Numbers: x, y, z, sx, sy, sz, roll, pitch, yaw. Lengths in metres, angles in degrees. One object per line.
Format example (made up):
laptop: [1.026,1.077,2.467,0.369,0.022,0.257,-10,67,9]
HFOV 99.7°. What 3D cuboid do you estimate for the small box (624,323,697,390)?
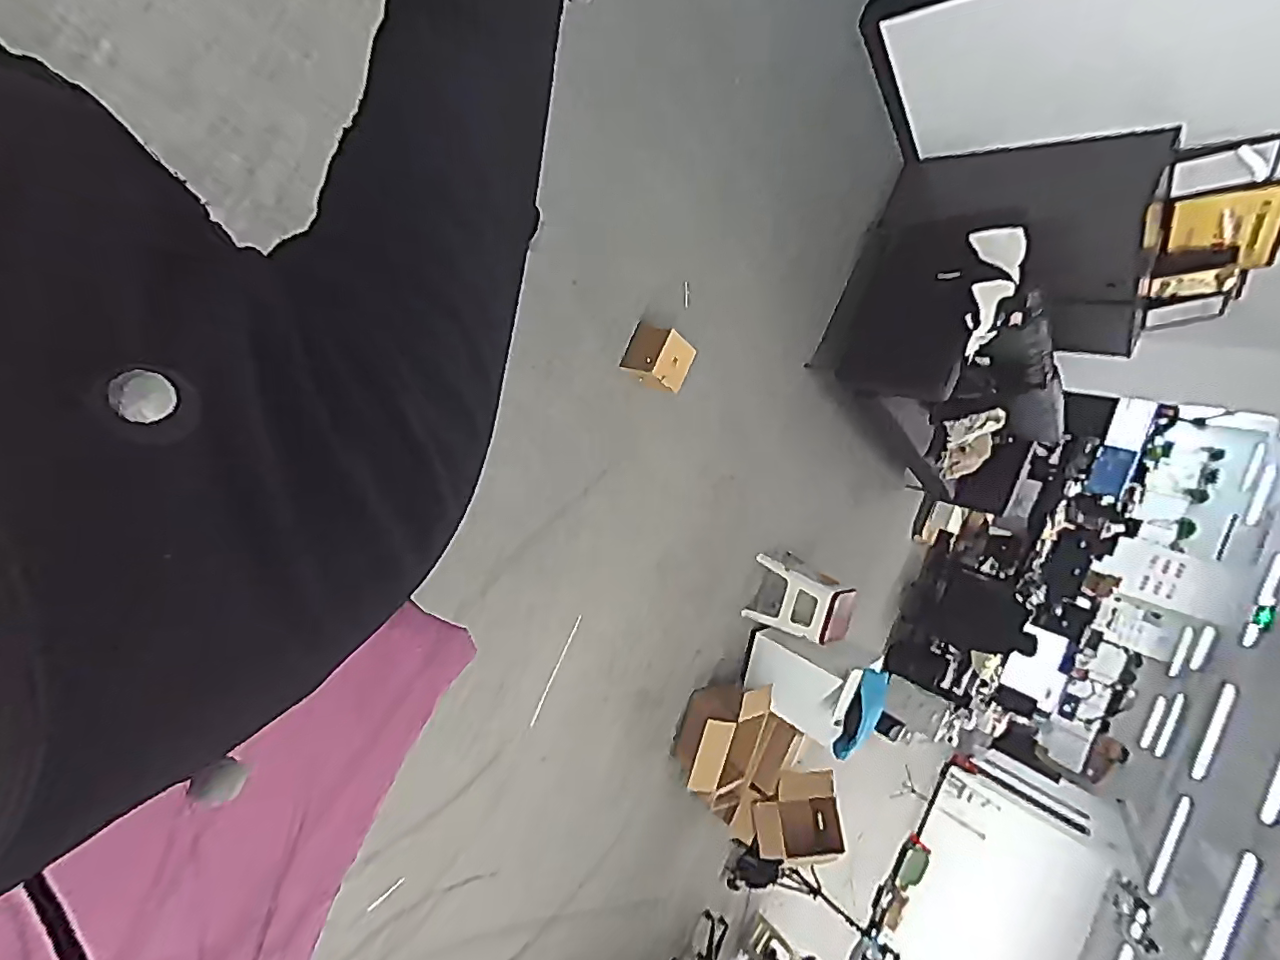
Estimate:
small box: [0.070,-0.451,1.960,0.168,0.176,0.179,28,86,-47]
